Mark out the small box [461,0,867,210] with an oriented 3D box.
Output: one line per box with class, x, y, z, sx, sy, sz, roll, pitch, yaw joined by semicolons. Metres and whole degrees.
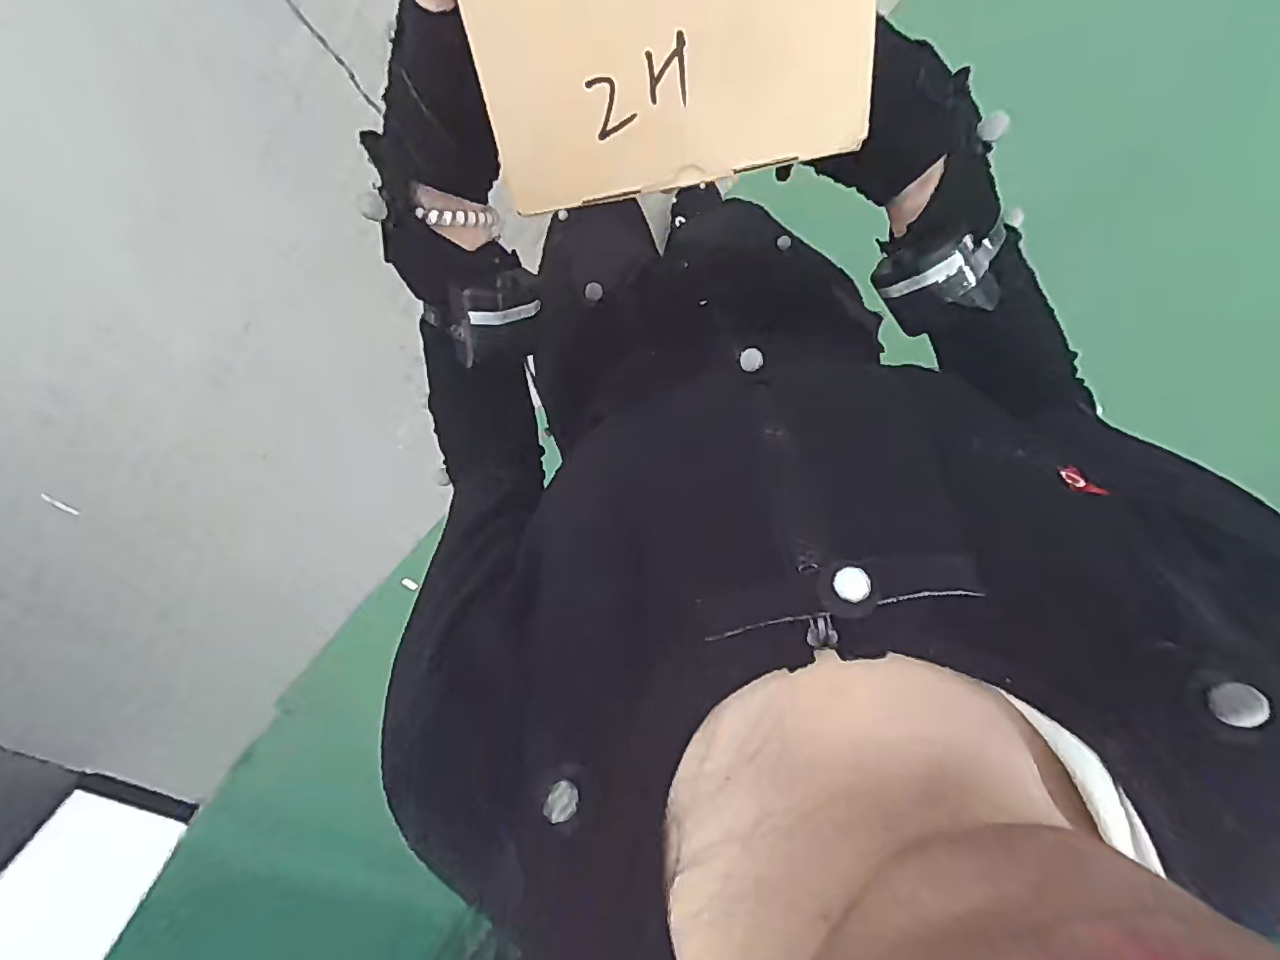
small box;0.002;-0.256;0.271;0.168;0.176;0.179;-10;126;3
